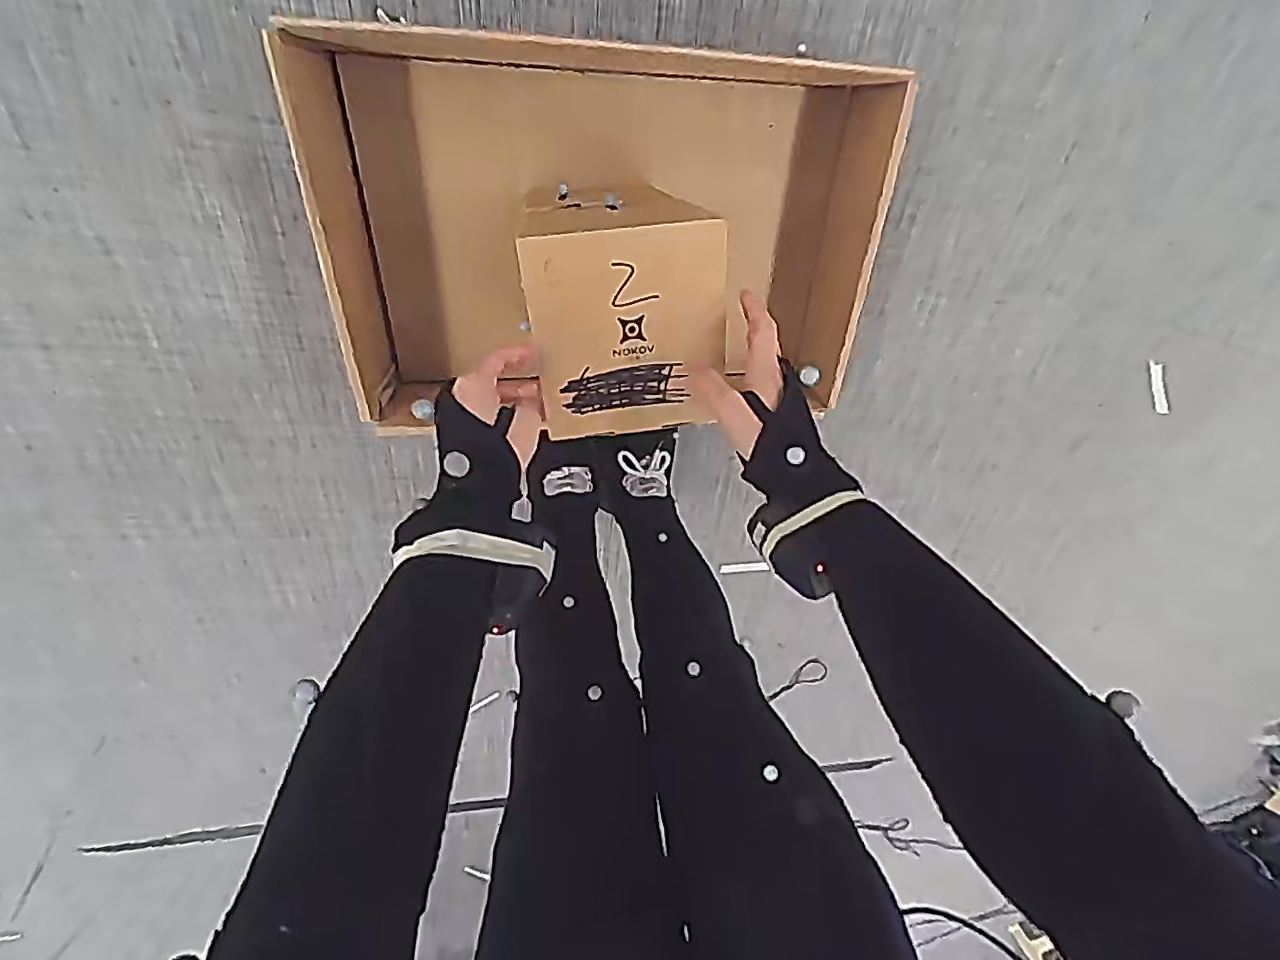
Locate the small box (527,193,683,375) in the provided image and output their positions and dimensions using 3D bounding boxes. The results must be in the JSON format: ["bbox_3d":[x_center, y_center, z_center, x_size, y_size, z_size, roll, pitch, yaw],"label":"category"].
[{"bbox_3d":[-0.046,-0.248,0.665,0.168,0.176,0.179,-7,125,-6],"label":"small box"}]
